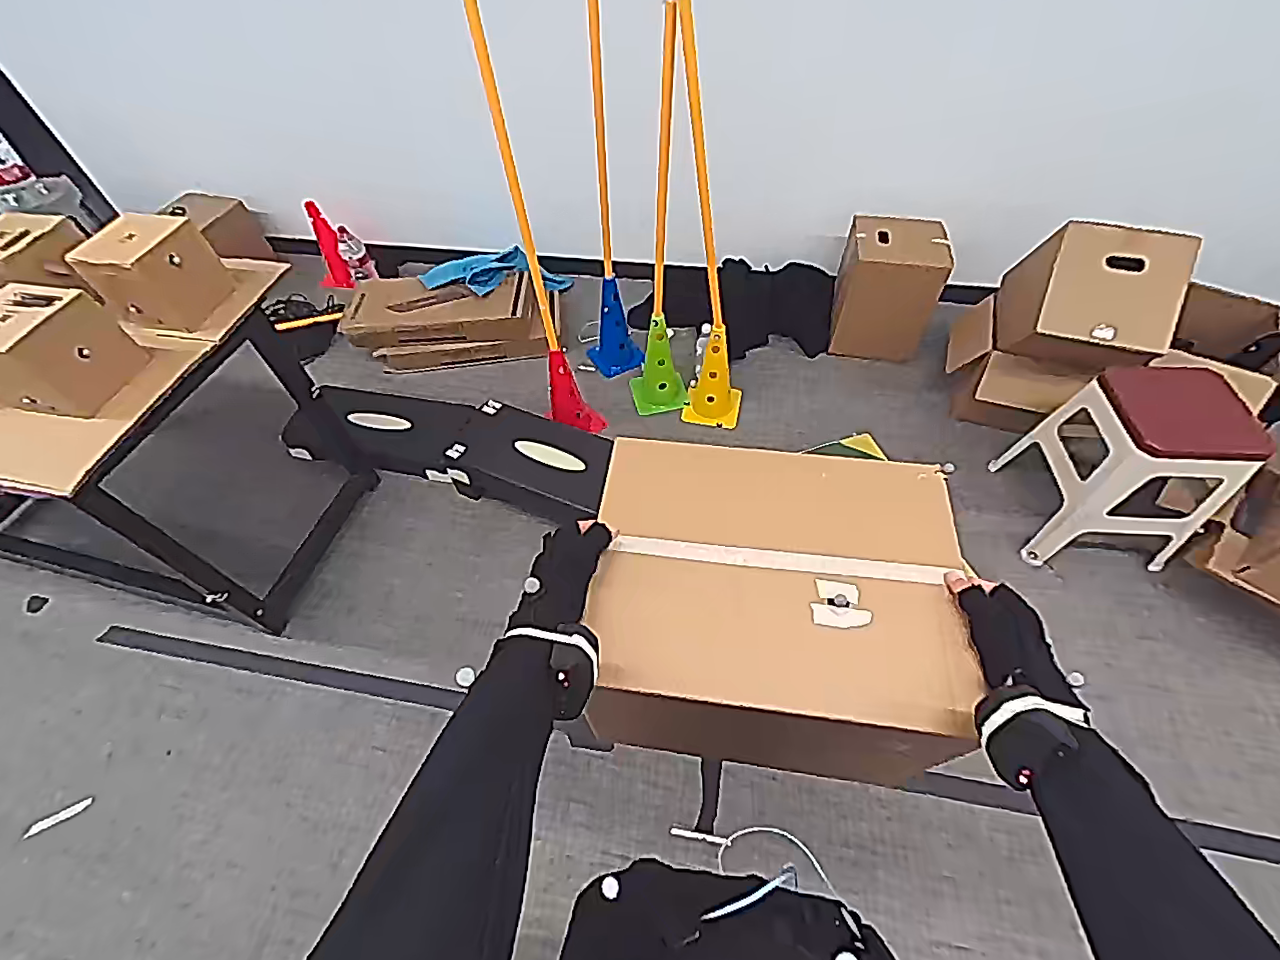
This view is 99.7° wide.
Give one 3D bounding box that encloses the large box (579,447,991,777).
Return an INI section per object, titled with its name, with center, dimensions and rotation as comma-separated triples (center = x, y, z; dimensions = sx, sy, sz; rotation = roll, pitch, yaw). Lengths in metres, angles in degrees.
[large box]
center = 0.157, 0.182, 0.728
dimensions = 0.408, 0.320, 0.320
rotation = 6, 56, 7
